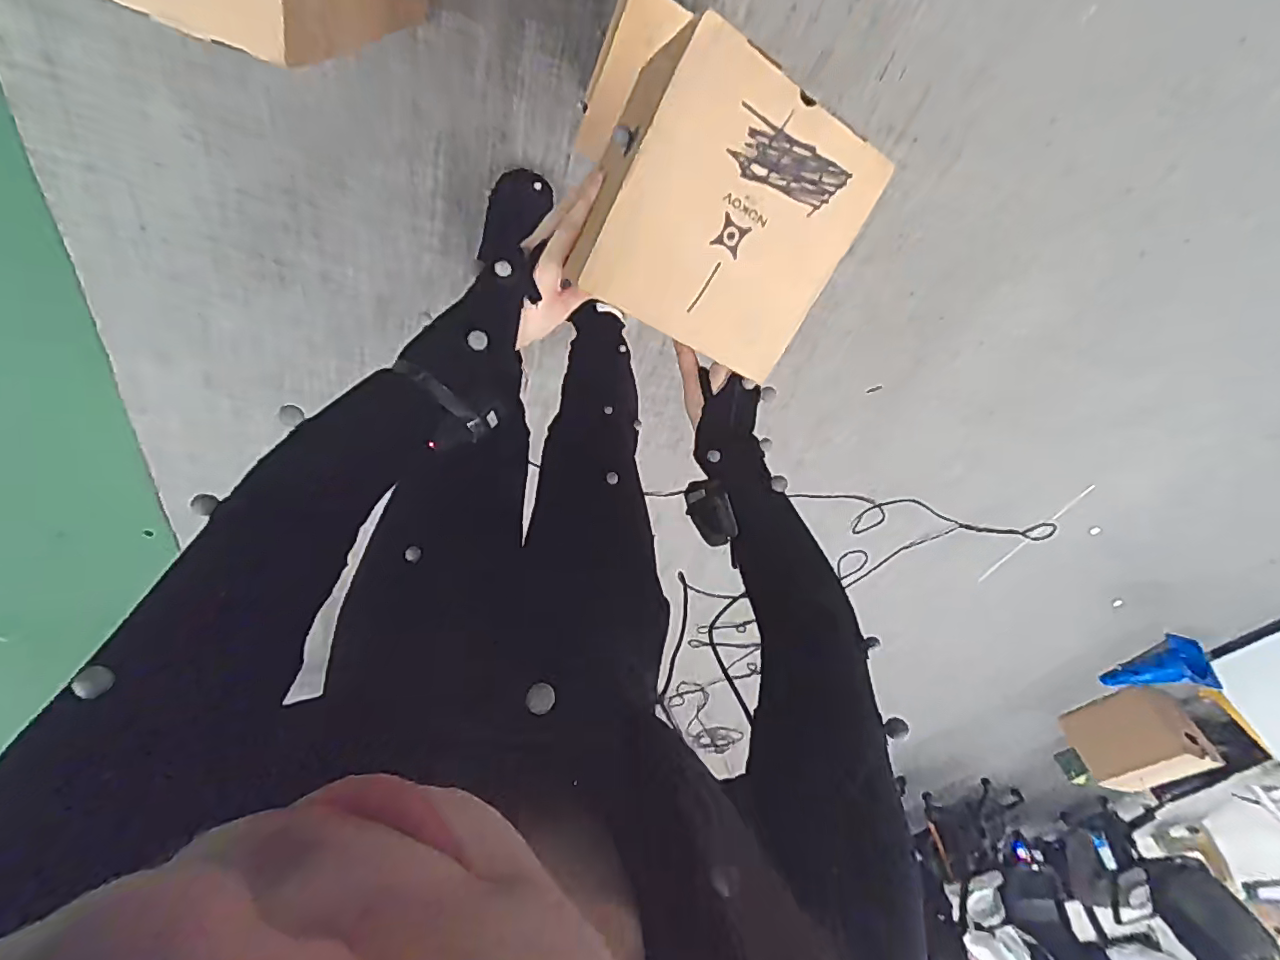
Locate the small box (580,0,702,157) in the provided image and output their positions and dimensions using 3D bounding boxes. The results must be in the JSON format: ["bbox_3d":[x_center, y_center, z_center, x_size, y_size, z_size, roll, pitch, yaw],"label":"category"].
[{"bbox_3d":[0.032,-0.492,0.683,0.168,0.176,0.179,19,131,-19],"label":"small box"}]

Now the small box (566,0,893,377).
[{"bbox_3d":[0.049,-0.215,0.435,0.168,0.176,0.179,22,110,-22],"label":"small box"}]

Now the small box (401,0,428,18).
[{"bbox_3d":[-0.360,-0.717,0.677,0.168,0.176,0.179,16,132,-16],"label":"small box"}]

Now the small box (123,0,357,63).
[{"bbox_3d":[-0.347,-0.487,0.444,0.168,0.176,0.179,14,131,-13],"label":"small box"}]

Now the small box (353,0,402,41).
[{"bbox_3d":[-0.353,-0.603,0.562,0.168,0.176,0.179,14,132,-14],"label":"small box"}]
